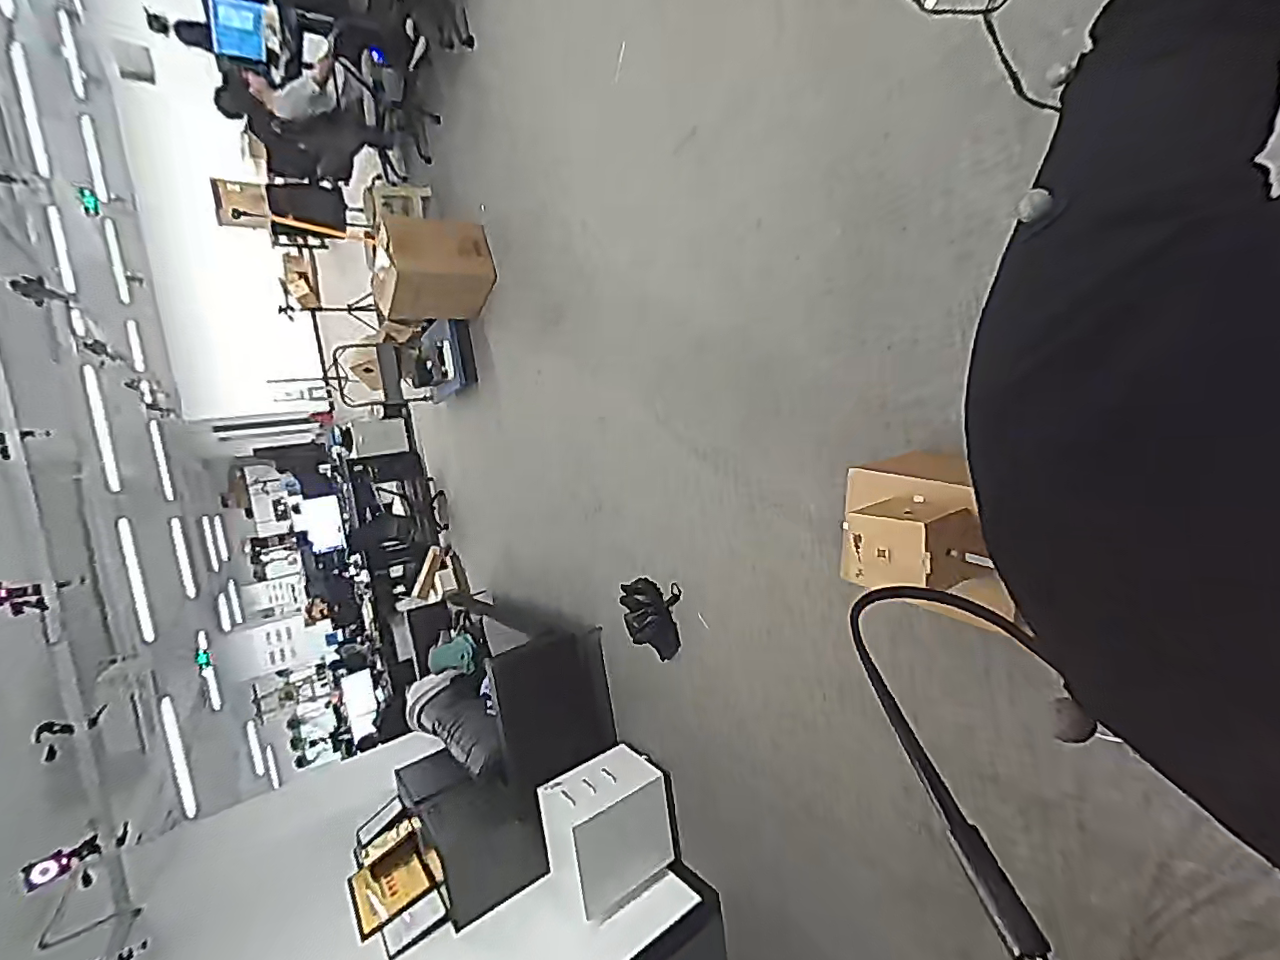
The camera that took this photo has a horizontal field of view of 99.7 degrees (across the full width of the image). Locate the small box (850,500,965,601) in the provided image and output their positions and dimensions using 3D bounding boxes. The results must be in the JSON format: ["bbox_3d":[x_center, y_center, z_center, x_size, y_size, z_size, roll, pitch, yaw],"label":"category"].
[{"bbox_3d":[0.588,0.144,1.184,0.179,0.176,0.168,7,105,54],"label":"small box"}]
